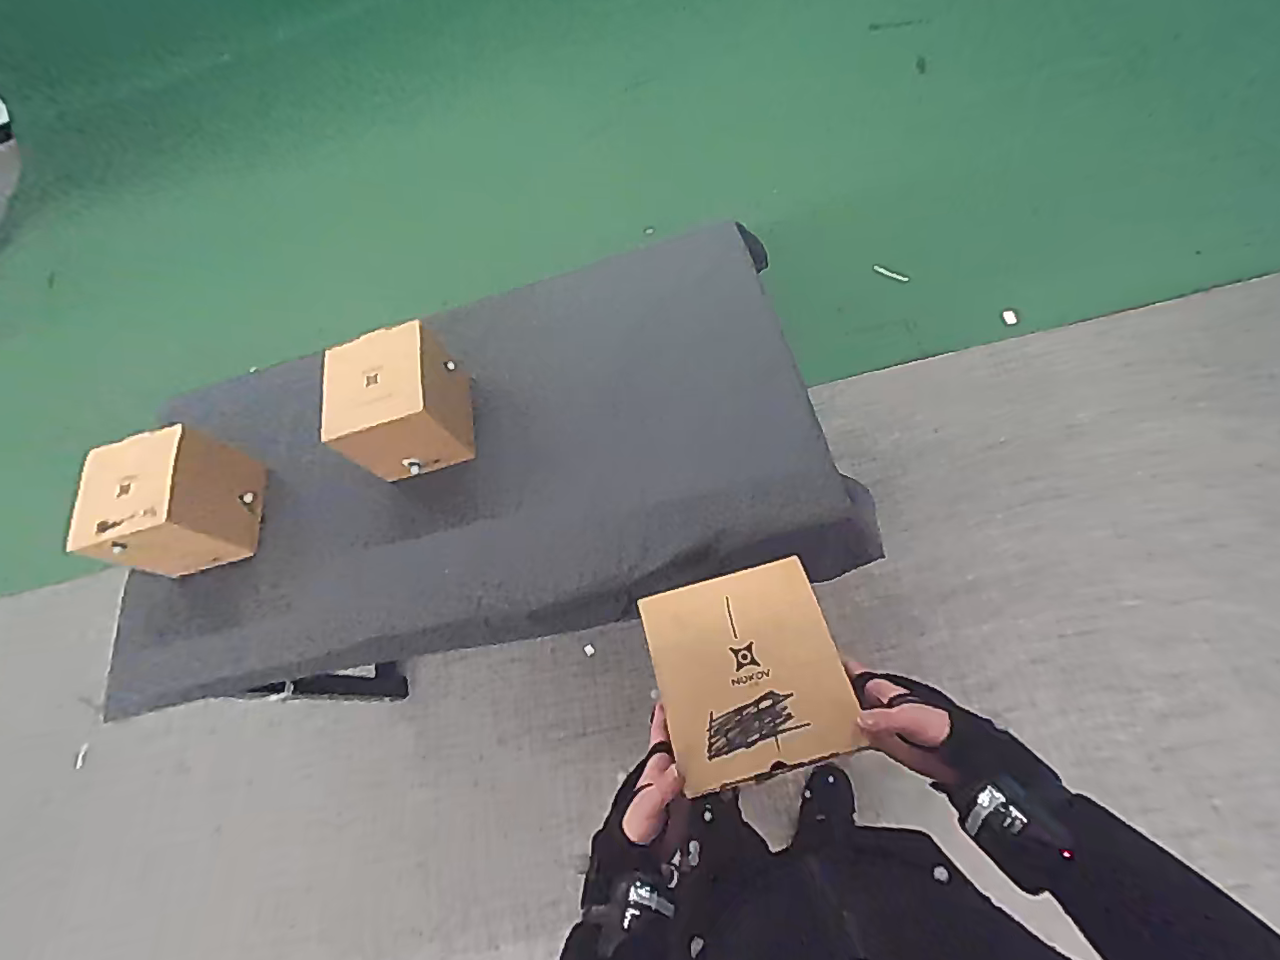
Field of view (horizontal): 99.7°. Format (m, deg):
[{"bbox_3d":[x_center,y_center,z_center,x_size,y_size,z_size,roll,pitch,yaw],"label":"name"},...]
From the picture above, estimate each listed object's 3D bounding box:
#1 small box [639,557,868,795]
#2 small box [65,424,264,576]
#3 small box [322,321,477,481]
[{"bbox_3d":[0.107,0.204,0.558,0.168,0.176,0.179,-15,61,1],"label":"small box"},{"bbox_3d":[-0.761,0.039,0.889,0.168,0.176,0.179,-16,64,5],"label":"small box"},{"bbox_3d":[-0.386,-0.122,0.886,0.168,0.176,0.179,-17,67,5],"label":"small box"}]
